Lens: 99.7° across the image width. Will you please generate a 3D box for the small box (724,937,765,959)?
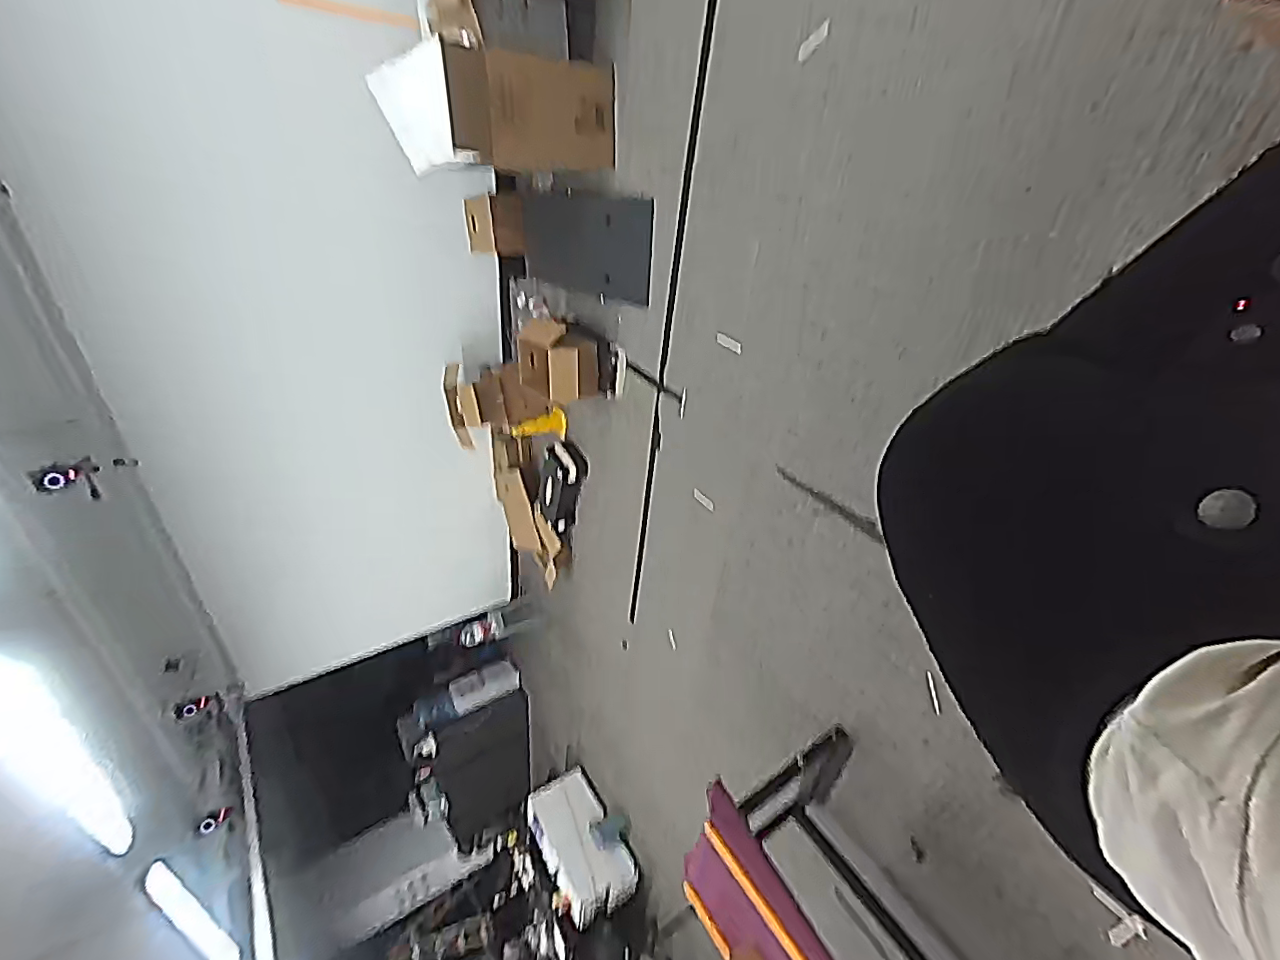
[{"bbox_3d":[0.365,1.761,1.886,0.179,0.176,0.168,43,136,40],"label":"small box"}]
